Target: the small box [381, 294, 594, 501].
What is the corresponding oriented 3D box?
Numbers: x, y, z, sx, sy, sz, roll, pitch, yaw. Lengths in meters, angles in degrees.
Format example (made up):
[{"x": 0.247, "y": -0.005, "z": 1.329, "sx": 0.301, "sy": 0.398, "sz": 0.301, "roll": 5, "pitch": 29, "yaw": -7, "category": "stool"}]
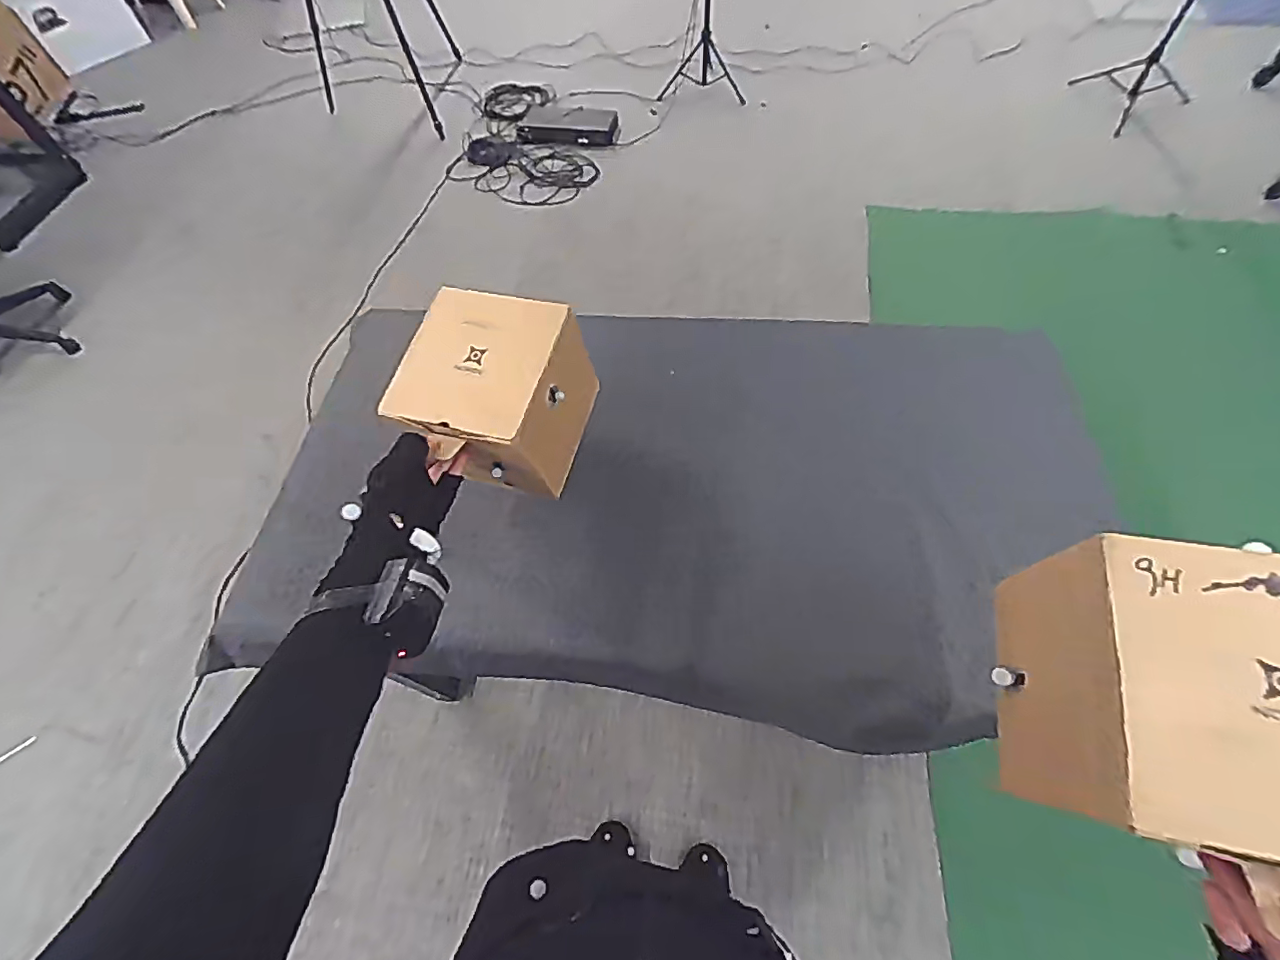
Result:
[{"x": -0.167, "y": -0.093, "z": 0.658, "sx": 0.168, "sy": 0.176, "sz": 0.179, "roll": 13, "pitch": 68, "yaw": 12, "category": "small box"}]
